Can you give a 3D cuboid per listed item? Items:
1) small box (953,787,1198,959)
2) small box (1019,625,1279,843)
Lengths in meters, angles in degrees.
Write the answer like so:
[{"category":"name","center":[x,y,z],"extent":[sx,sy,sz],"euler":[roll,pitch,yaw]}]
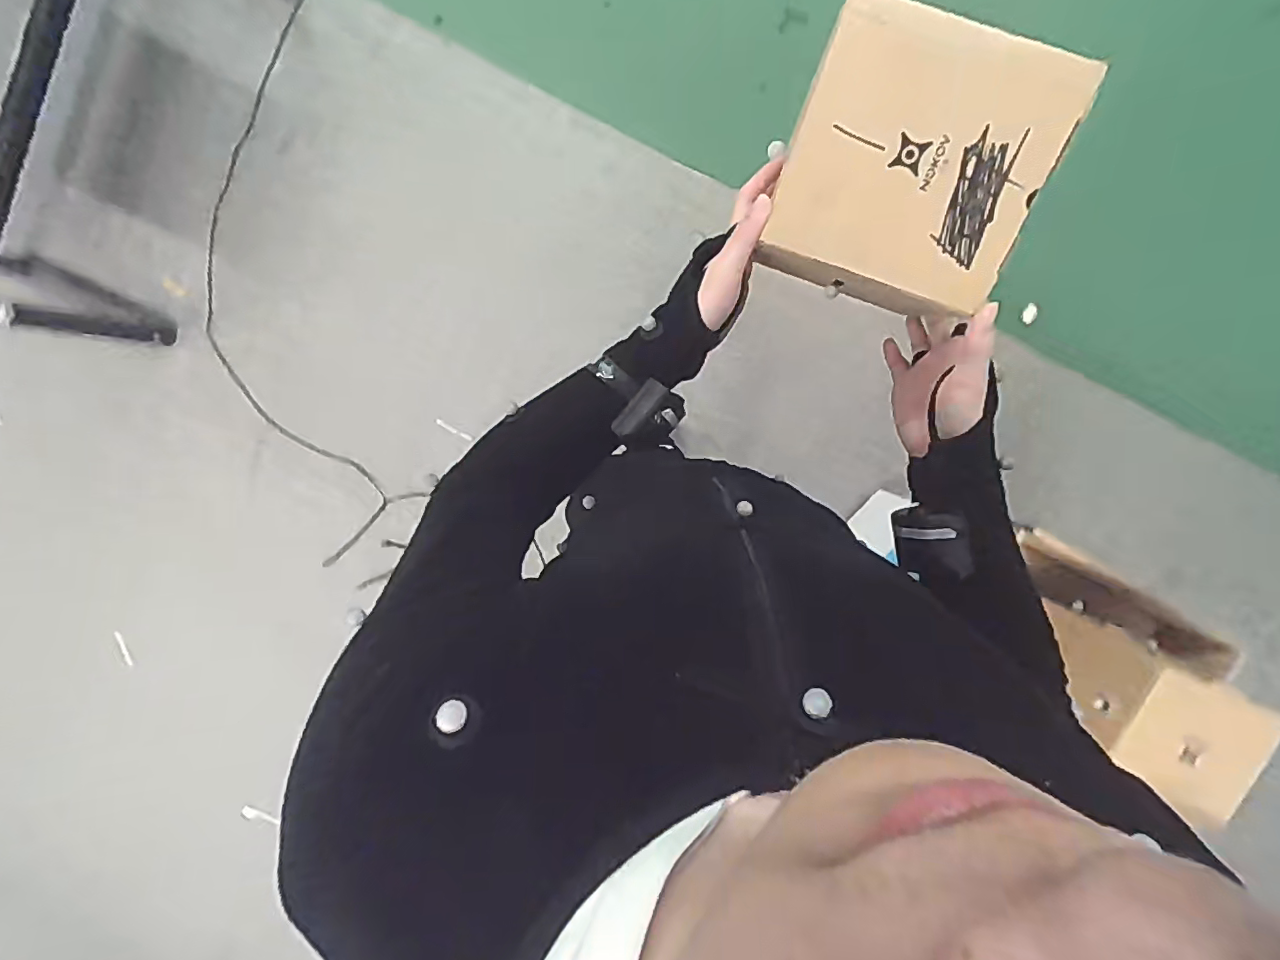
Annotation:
[{"category":"small box","center":[0.590,0.584,0.762],"extent":[0.168,0.176,0.179],"euler":[33,97,0]},{"category":"small box","center":[0.664,0.324,0.727],"extent":[0.168,0.176,0.179],"euler":[24,98,0]}]
